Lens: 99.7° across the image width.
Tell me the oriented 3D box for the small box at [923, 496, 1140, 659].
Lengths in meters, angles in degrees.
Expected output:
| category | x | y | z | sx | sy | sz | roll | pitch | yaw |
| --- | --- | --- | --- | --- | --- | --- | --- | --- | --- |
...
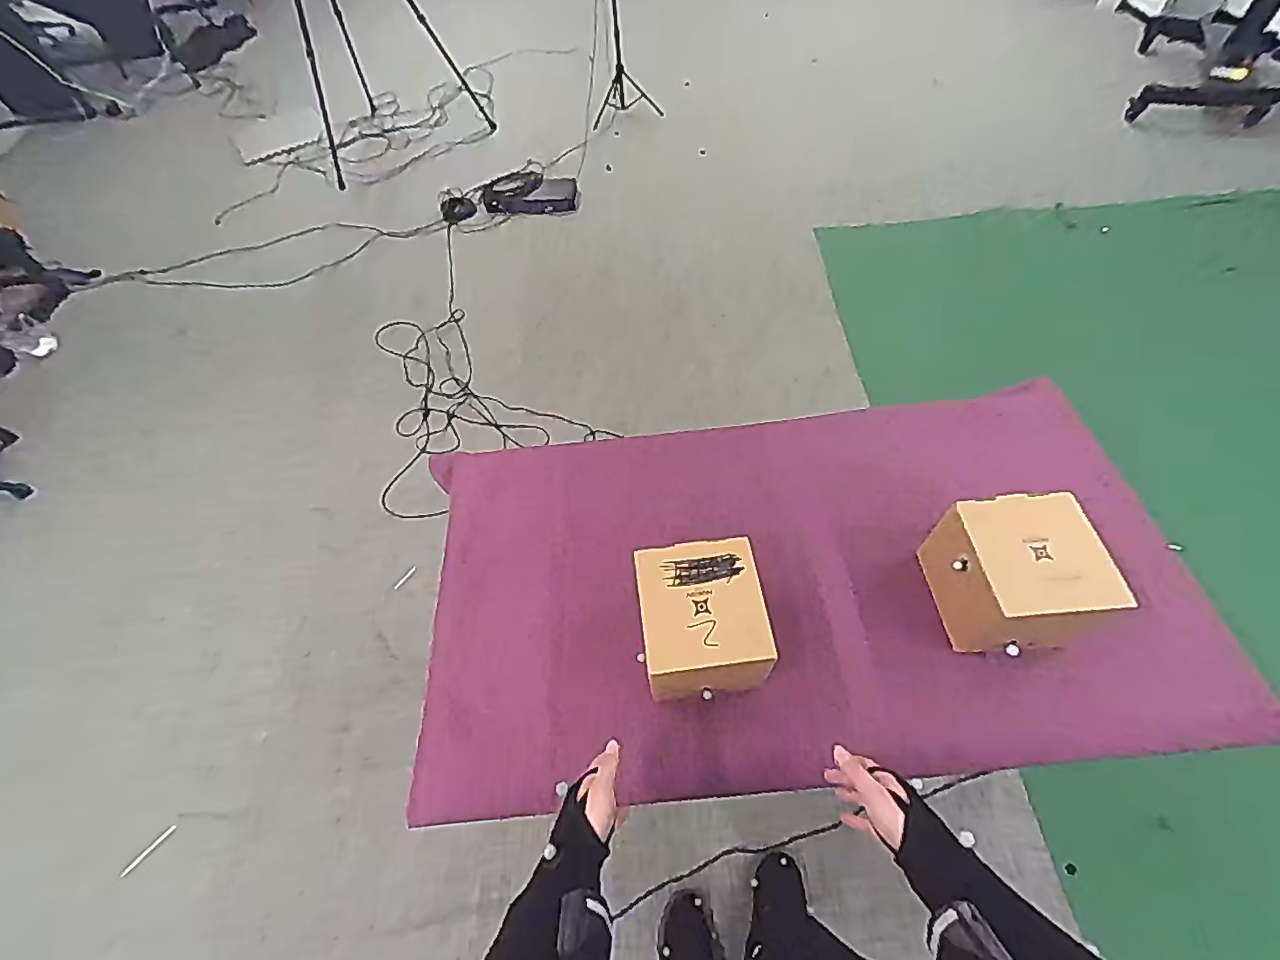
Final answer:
| category | x | y | z | sx | sy | sz | roll | pitch | yaw |
| --- | --- | --- | --- | --- | --- | --- | --- | --- | --- |
| small box | 0.541 | 0.144 | 0.784 | 0.168 | 0.176 | 0.179 | -5 | 55 | 4 |
